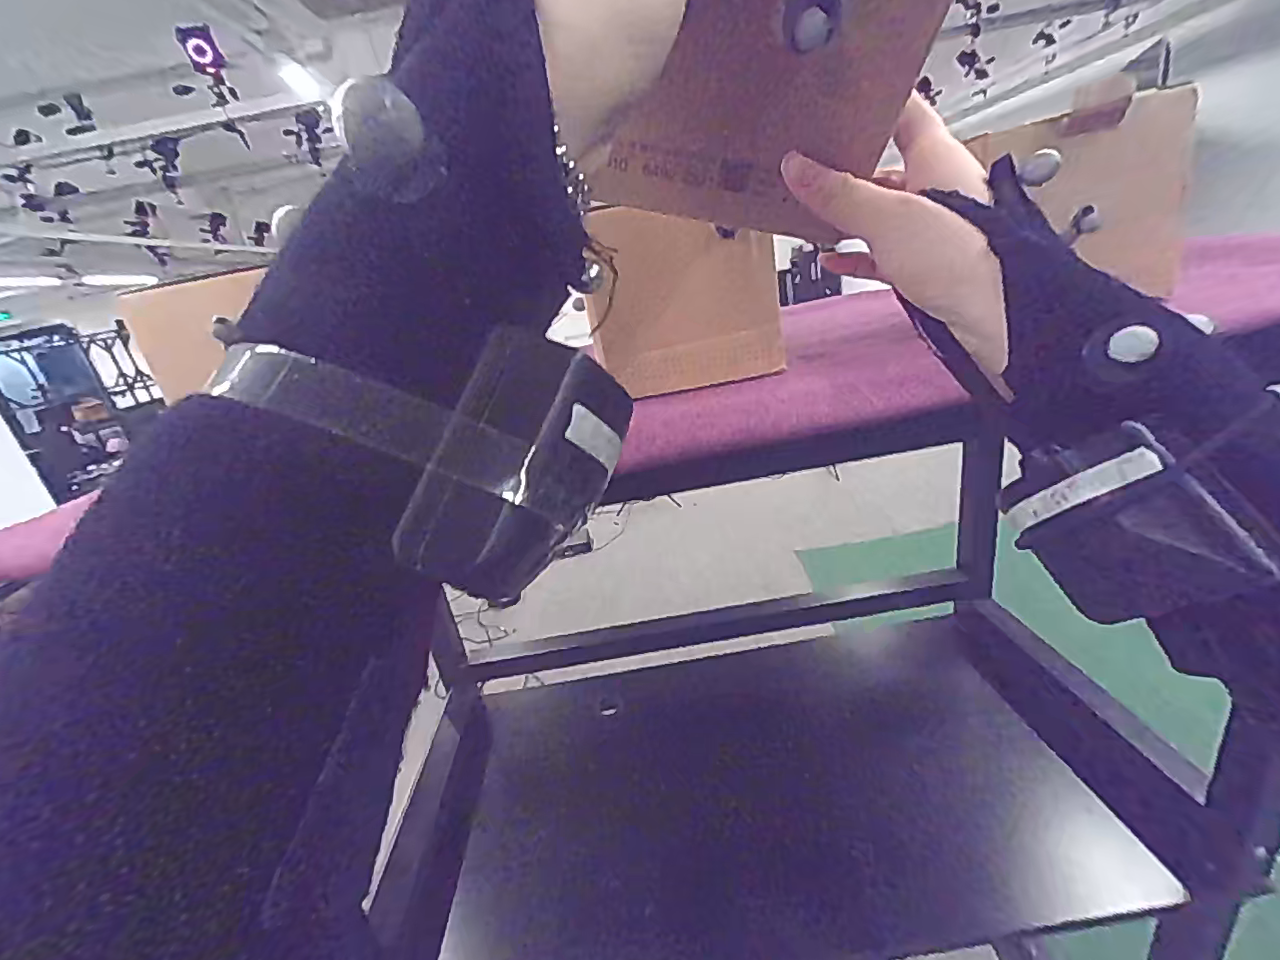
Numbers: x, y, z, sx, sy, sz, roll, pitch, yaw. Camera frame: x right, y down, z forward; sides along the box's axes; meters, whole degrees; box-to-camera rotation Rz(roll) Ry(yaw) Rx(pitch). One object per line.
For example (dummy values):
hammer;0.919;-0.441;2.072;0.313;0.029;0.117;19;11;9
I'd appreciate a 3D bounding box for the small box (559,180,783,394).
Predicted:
small box;0.030;-0.189;0.538;0.179;0.176;0.168;-10;20;0

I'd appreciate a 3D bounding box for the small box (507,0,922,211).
small box;0.038;-0.254;0.243;0.168;0.176;0.179;11;59;0

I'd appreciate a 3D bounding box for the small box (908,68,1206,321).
small box;0.385;-0.259;0.534;0.168;0.176;0.179;-9;20;8
